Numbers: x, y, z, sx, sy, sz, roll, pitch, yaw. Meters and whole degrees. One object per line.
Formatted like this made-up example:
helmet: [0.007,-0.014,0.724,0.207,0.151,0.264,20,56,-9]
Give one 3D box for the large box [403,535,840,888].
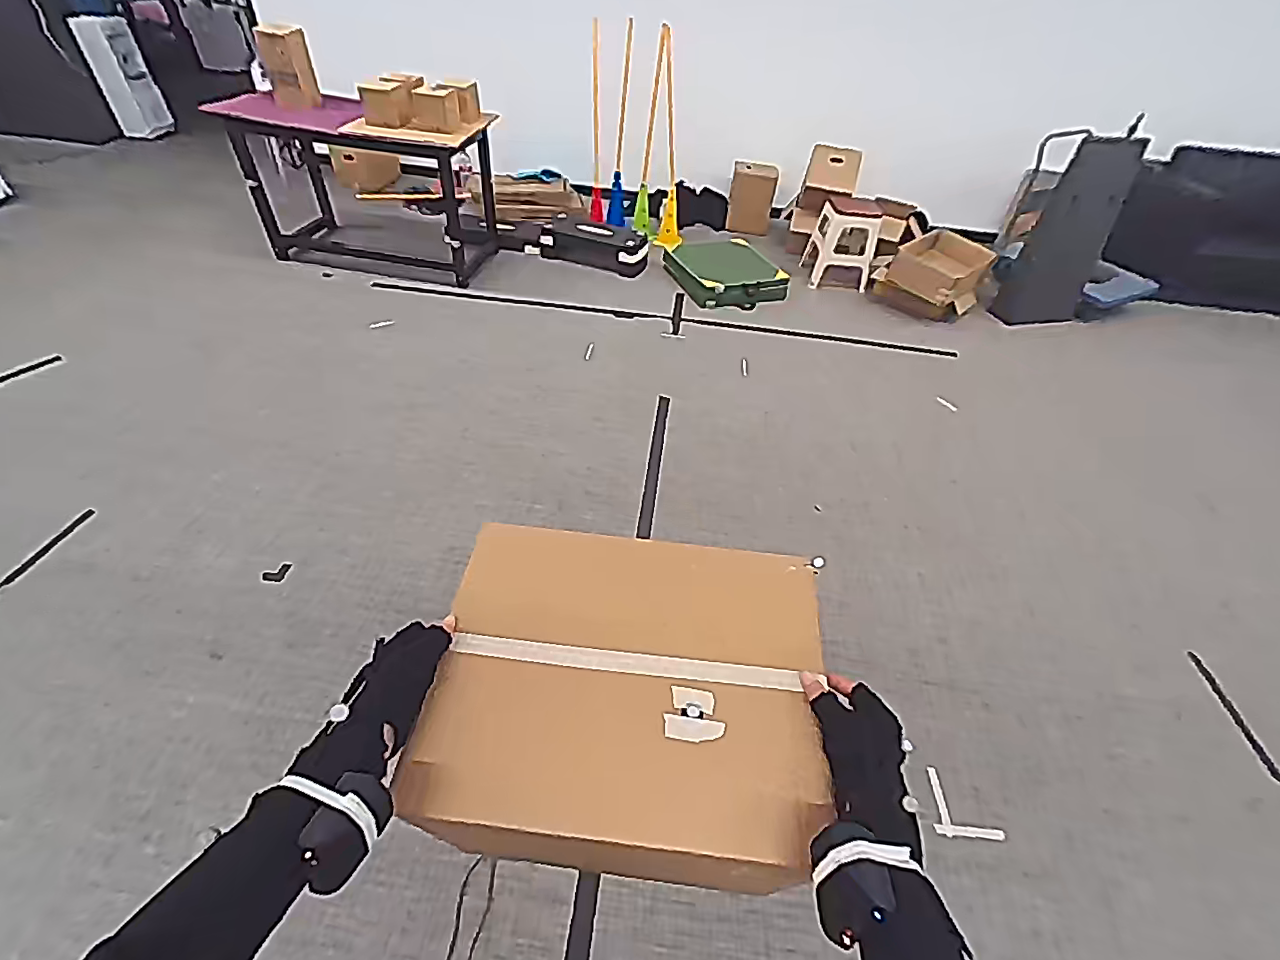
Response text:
large box: [-0.013,0.298,0.689,0.408,0.320,0.320,6,50,2]
